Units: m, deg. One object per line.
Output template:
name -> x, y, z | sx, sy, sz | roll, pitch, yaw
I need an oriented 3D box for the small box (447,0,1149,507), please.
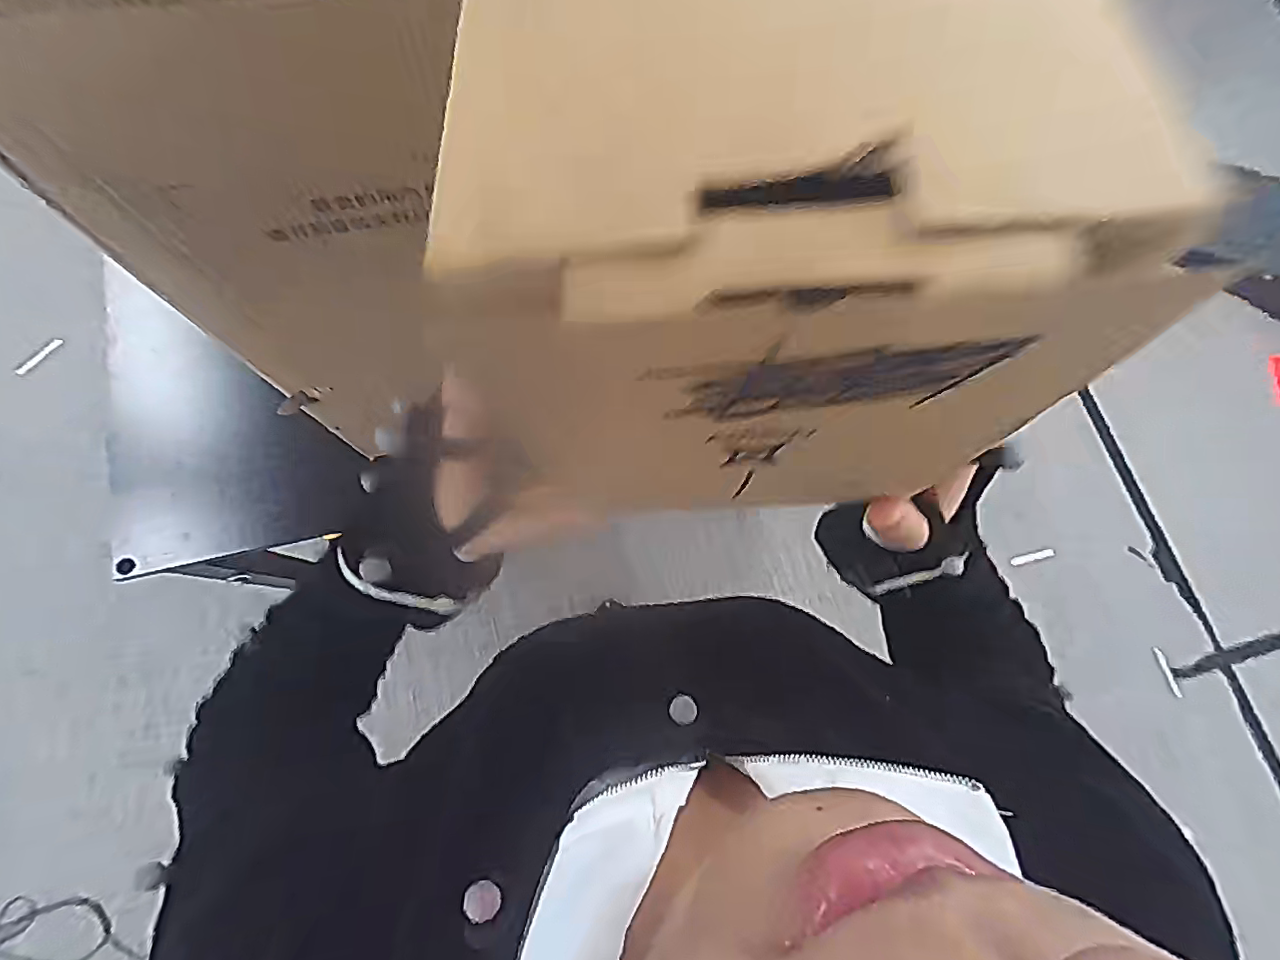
small box -> 0.037, -0.099, 0.231 | 0.168, 0.179, 0.176 | -3, 68, 5
